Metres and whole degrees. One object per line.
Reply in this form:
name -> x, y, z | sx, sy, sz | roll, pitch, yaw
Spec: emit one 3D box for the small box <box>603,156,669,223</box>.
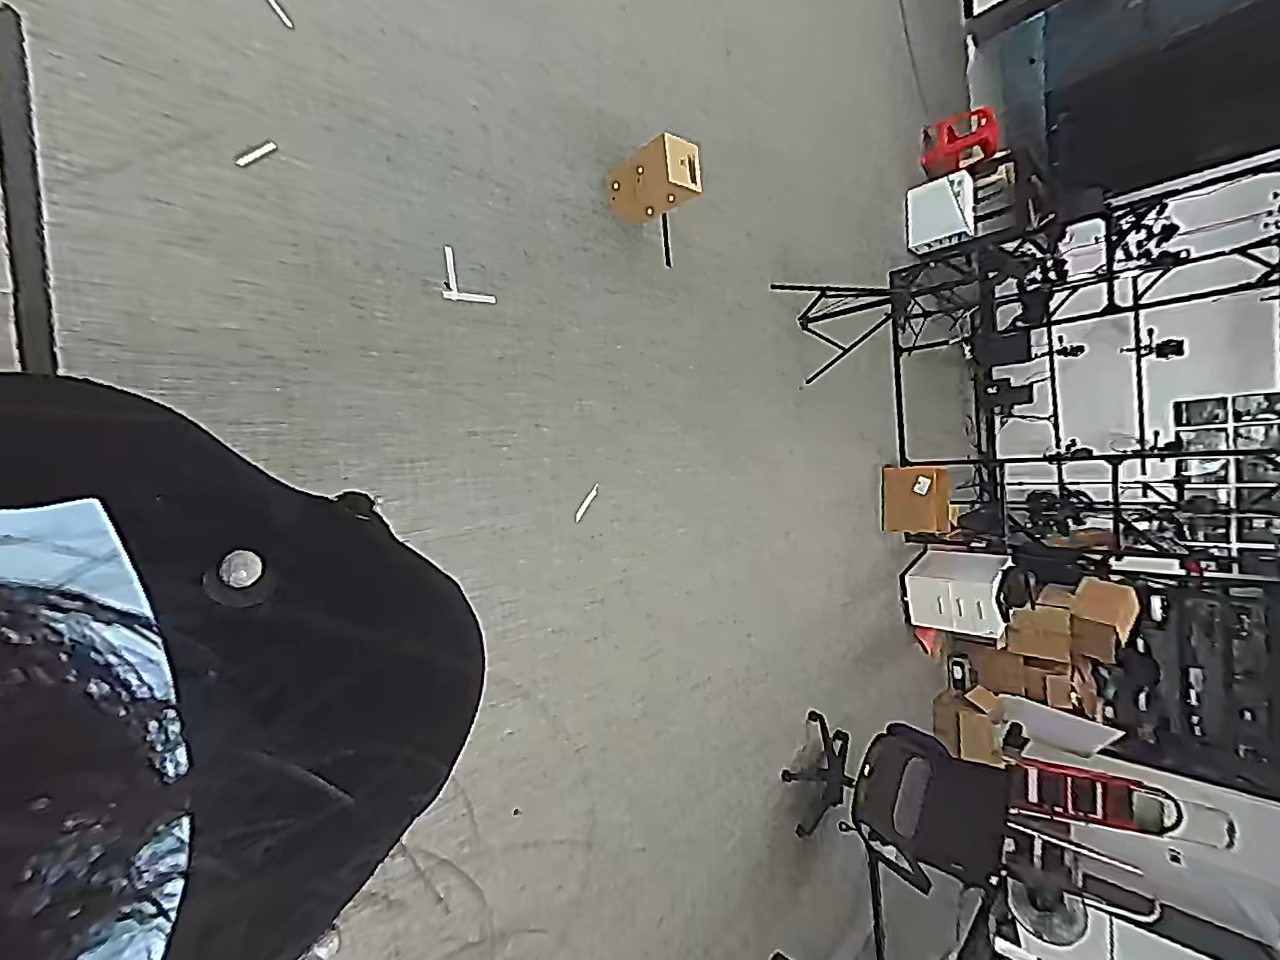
small box -> -0.015, -1.107, 2.075 | 0.179, 0.176, 0.168 | -15, 99, -43
